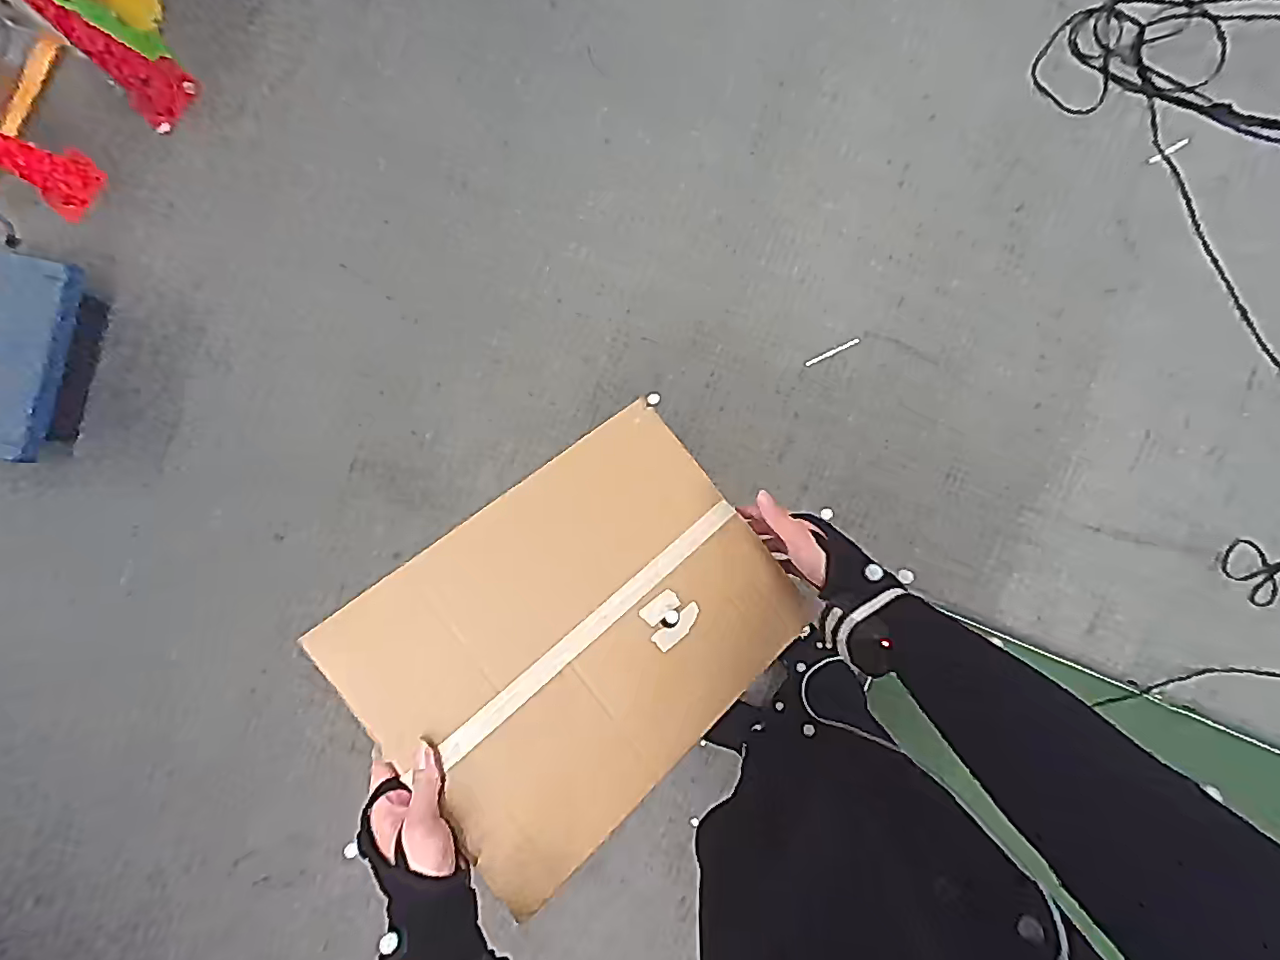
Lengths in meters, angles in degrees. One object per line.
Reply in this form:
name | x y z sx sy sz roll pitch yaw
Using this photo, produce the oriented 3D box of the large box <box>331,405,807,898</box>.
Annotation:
large box | -0.084 0.179 0.691 0.408 0.320 0.320 -37 89 -21
